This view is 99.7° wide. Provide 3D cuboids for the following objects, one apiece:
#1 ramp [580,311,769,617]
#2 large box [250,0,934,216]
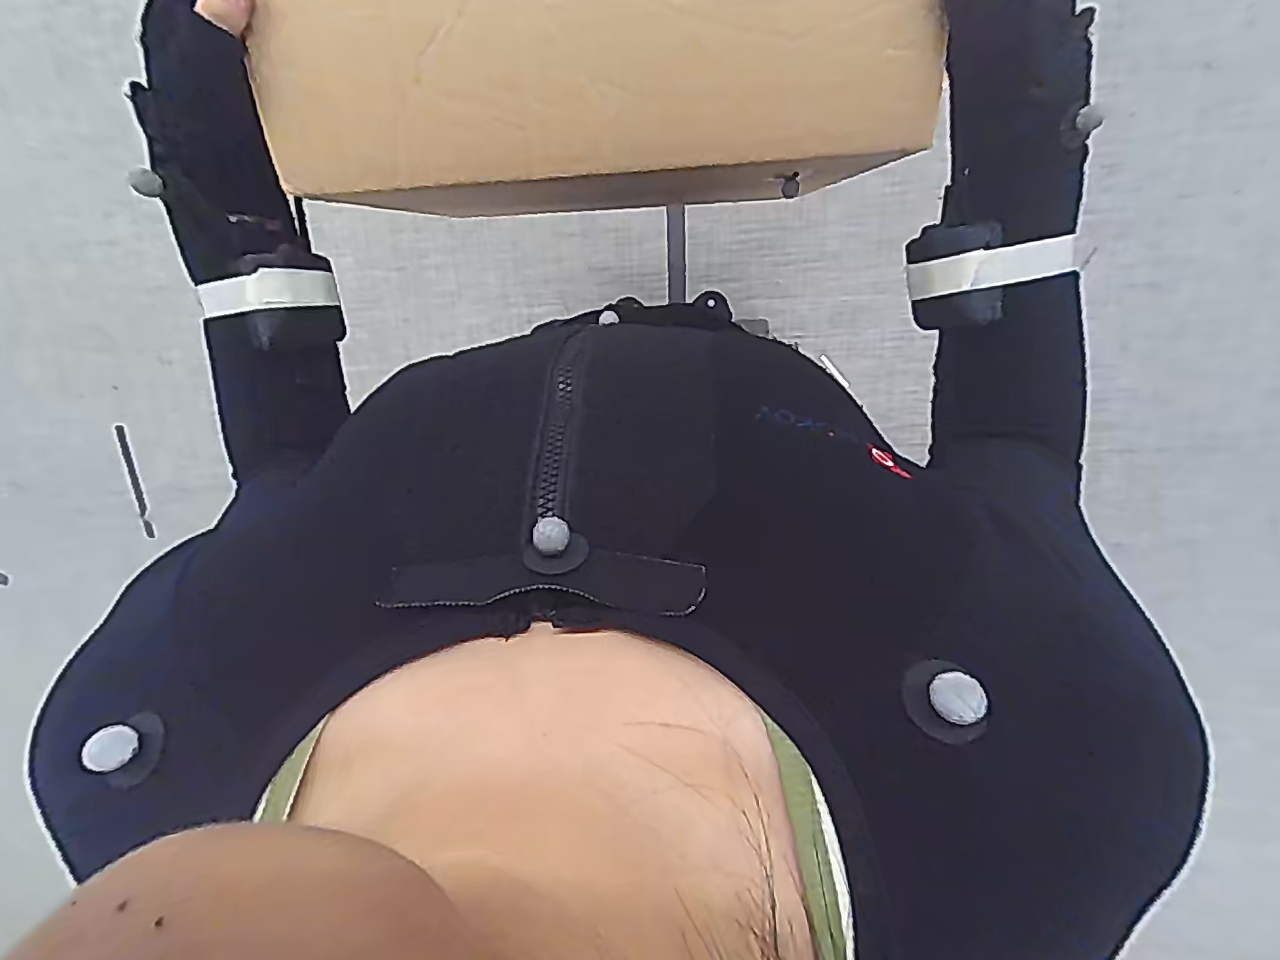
[{"bbox_3d":[0.120,0.020,1.611,0.509,0.206,0.991,-3,107,5],"label":"ramp"},{"bbox_3d":[-0.028,-0.397,0.425,0.408,0.320,0.320,-2,113,3],"label":"large box"}]
